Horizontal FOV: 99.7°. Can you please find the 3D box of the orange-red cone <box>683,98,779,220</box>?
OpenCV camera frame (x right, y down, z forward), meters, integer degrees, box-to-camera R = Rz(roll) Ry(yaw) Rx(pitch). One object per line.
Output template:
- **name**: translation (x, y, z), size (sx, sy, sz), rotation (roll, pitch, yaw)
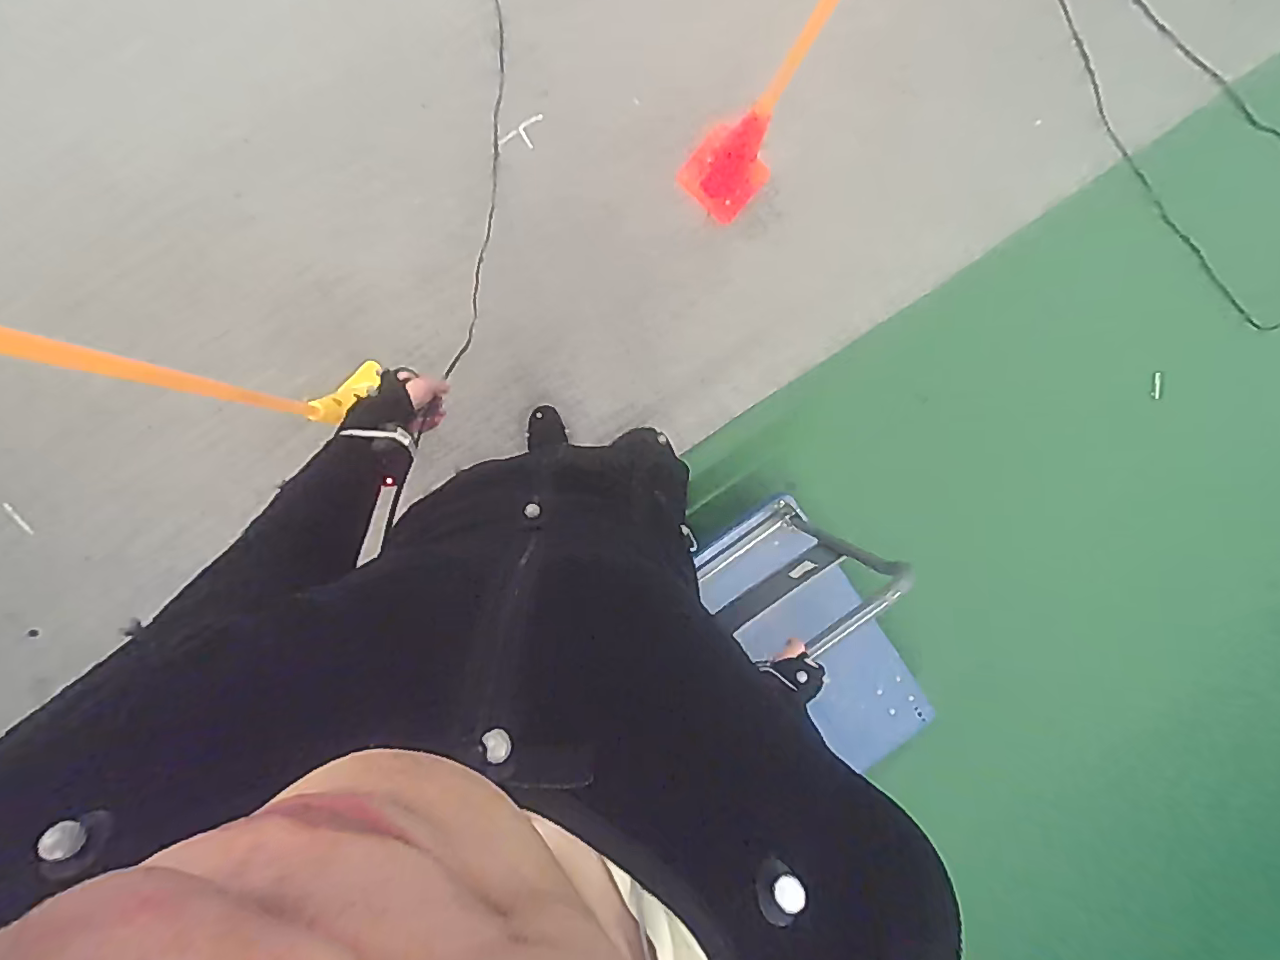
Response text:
- **orange-red cone**: translation (0.264, -0.836, 1.344), size (0.198, 0.360, 0.199), rotation (42, 92, -11)
